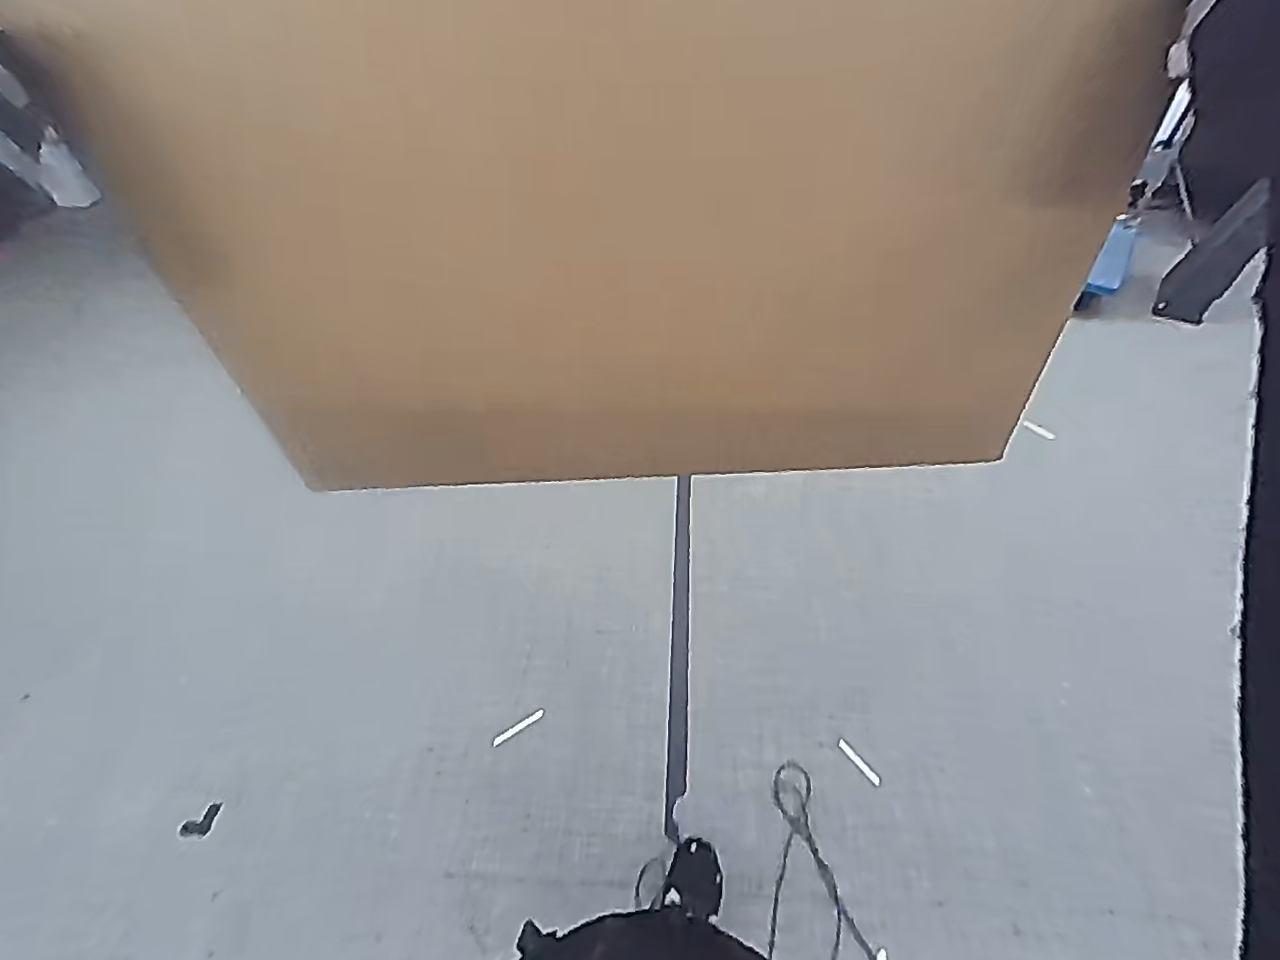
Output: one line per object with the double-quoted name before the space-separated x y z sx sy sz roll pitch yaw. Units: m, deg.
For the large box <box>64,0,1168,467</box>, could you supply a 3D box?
"large box" -0.005 -0.225 0.340 0.408 0.320 0.320 -2 43 4
